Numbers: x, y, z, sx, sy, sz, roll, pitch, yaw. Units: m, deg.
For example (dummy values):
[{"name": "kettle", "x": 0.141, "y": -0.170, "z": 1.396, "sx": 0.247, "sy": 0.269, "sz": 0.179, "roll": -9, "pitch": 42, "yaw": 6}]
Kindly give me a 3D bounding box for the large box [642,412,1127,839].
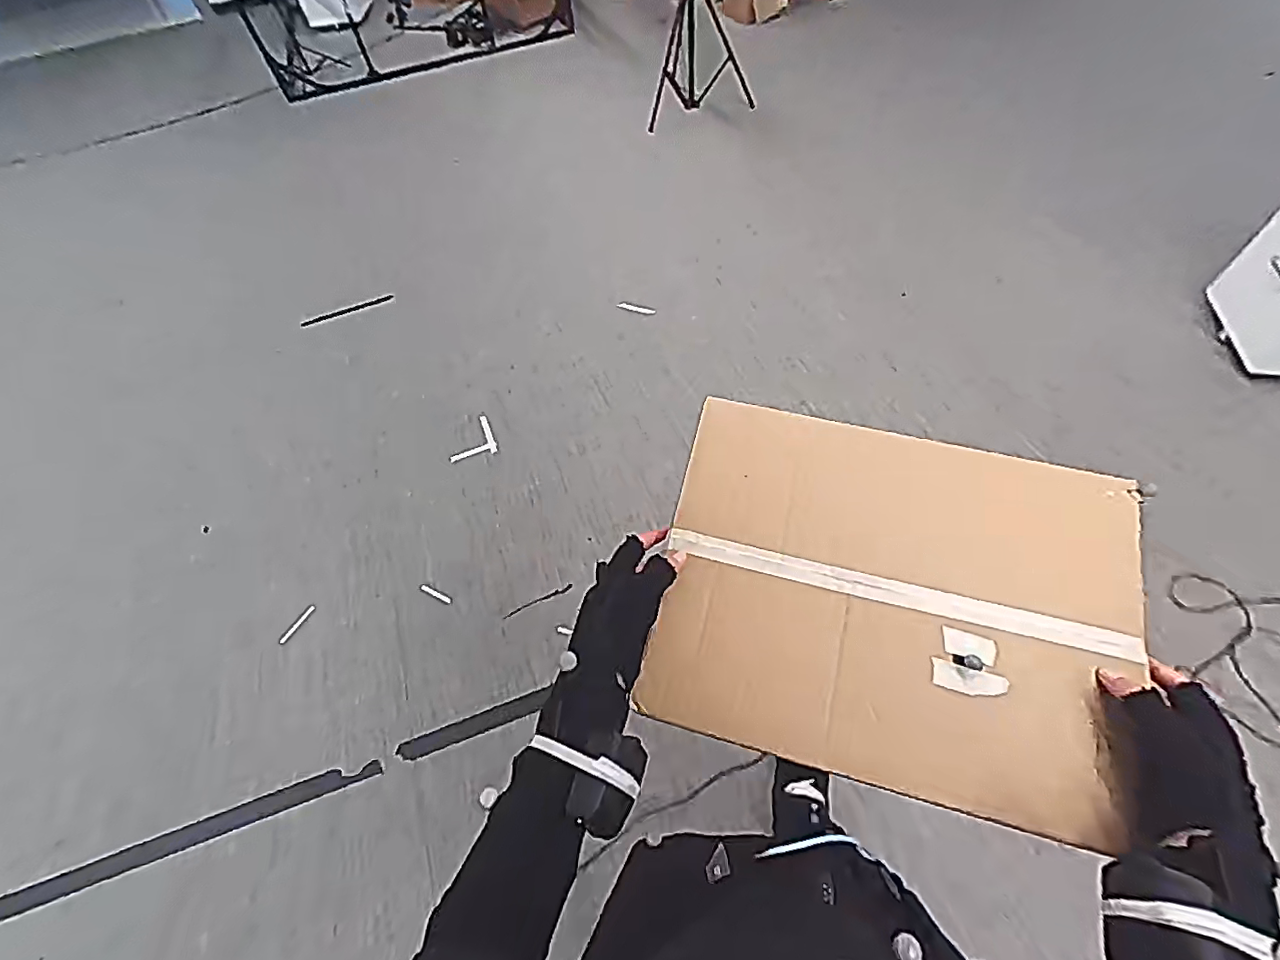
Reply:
[{"name": "large box", "x": 0.236, "y": 0.156, "z": 0.639, "sx": 0.408, "sy": 0.320, "sz": 0.320, "roll": 13, "pitch": 72, "yaw": 9}]
